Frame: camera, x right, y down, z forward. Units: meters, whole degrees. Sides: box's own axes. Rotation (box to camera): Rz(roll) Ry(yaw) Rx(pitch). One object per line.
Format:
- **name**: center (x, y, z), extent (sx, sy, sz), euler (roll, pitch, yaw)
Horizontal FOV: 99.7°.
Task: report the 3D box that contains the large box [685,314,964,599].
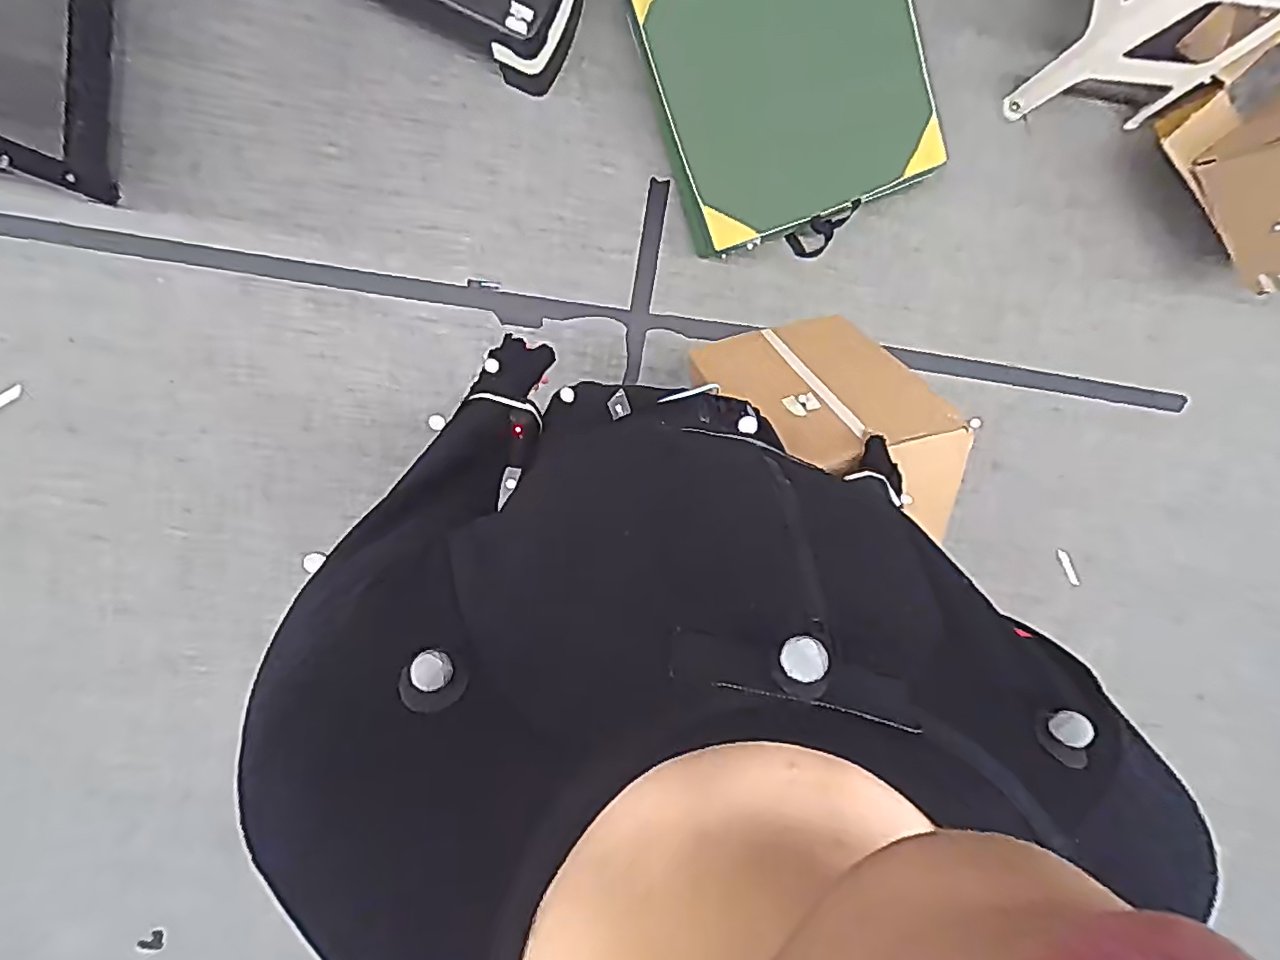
- **large box**: center (0.295, -0.057, 1.008), extent (0.320, 0.408, 0.320), euler (-15, 132, -4)
